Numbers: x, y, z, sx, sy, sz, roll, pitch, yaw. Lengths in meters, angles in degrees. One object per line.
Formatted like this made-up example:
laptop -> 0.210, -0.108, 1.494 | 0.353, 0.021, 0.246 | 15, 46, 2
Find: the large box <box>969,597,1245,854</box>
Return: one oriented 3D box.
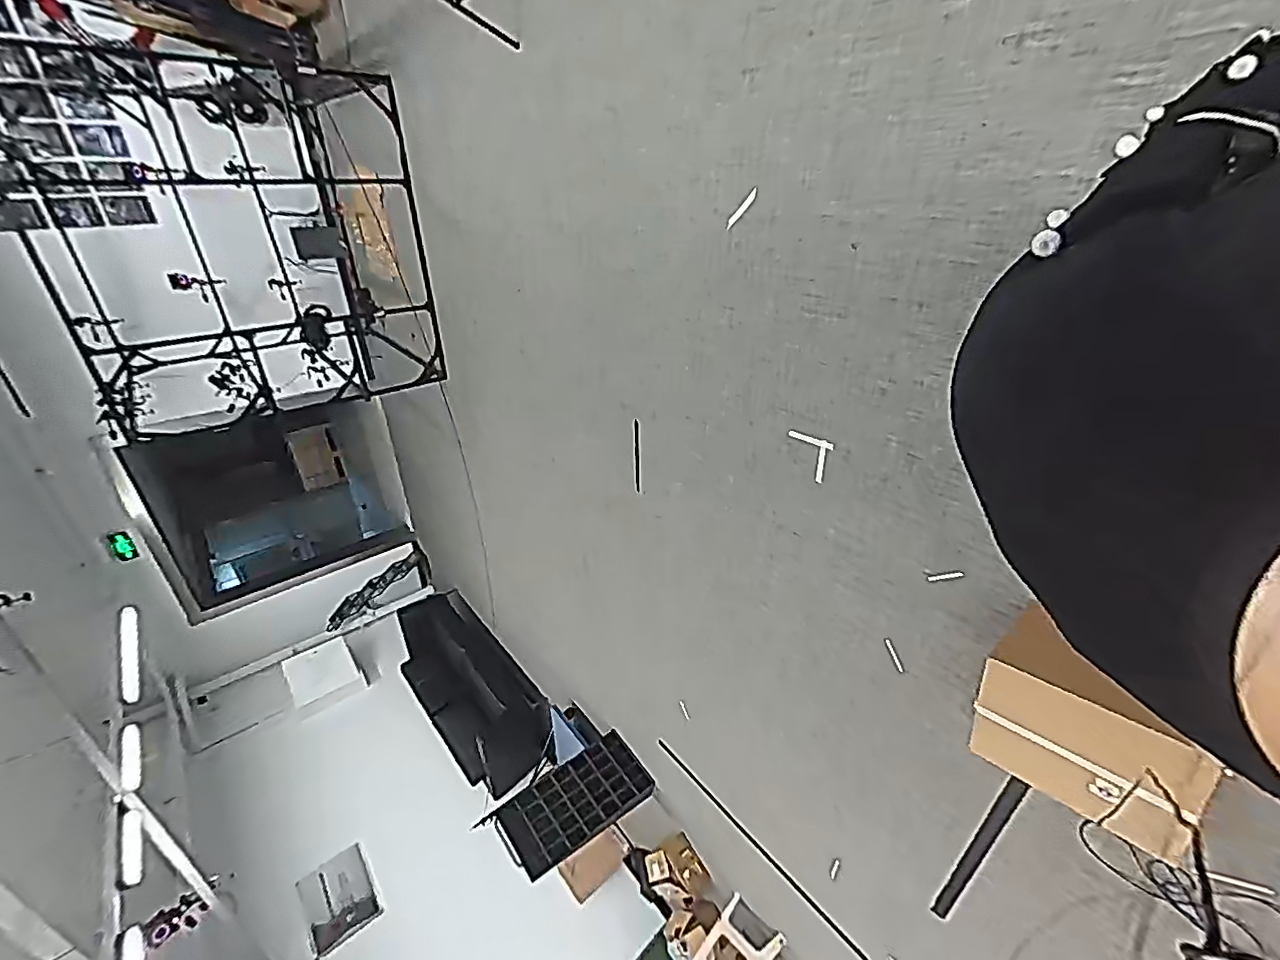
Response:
large box -> 1.073, 0.537, 1.276 | 0.408, 0.320, 0.320 | 22, 125, 46
